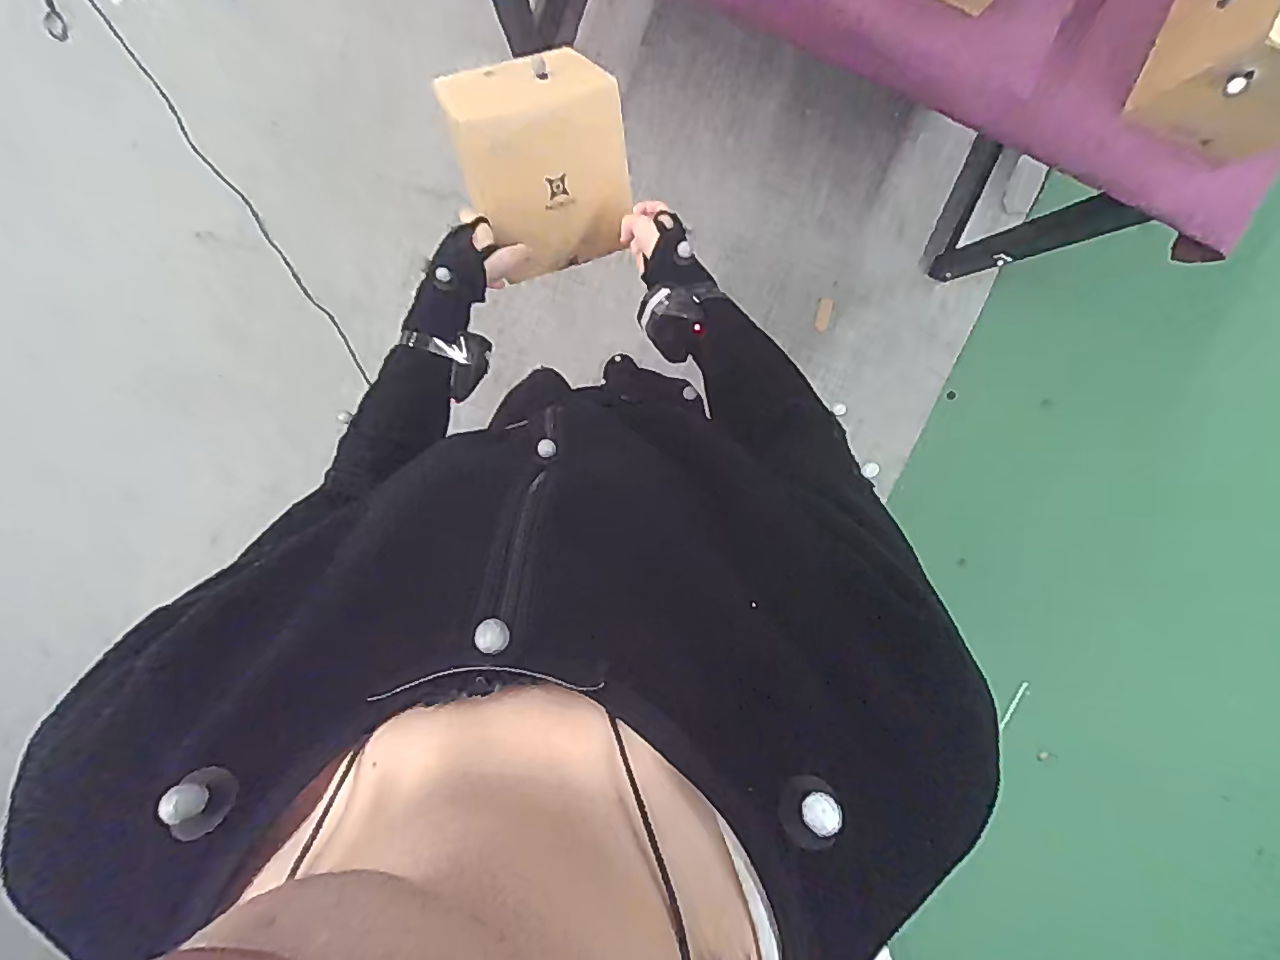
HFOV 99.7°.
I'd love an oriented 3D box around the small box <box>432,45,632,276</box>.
[{"bbox_3d":[-0.123,-0.372,0.623,0.168,0.176,0.179,-20,141,-9],"label":"small box"}]
